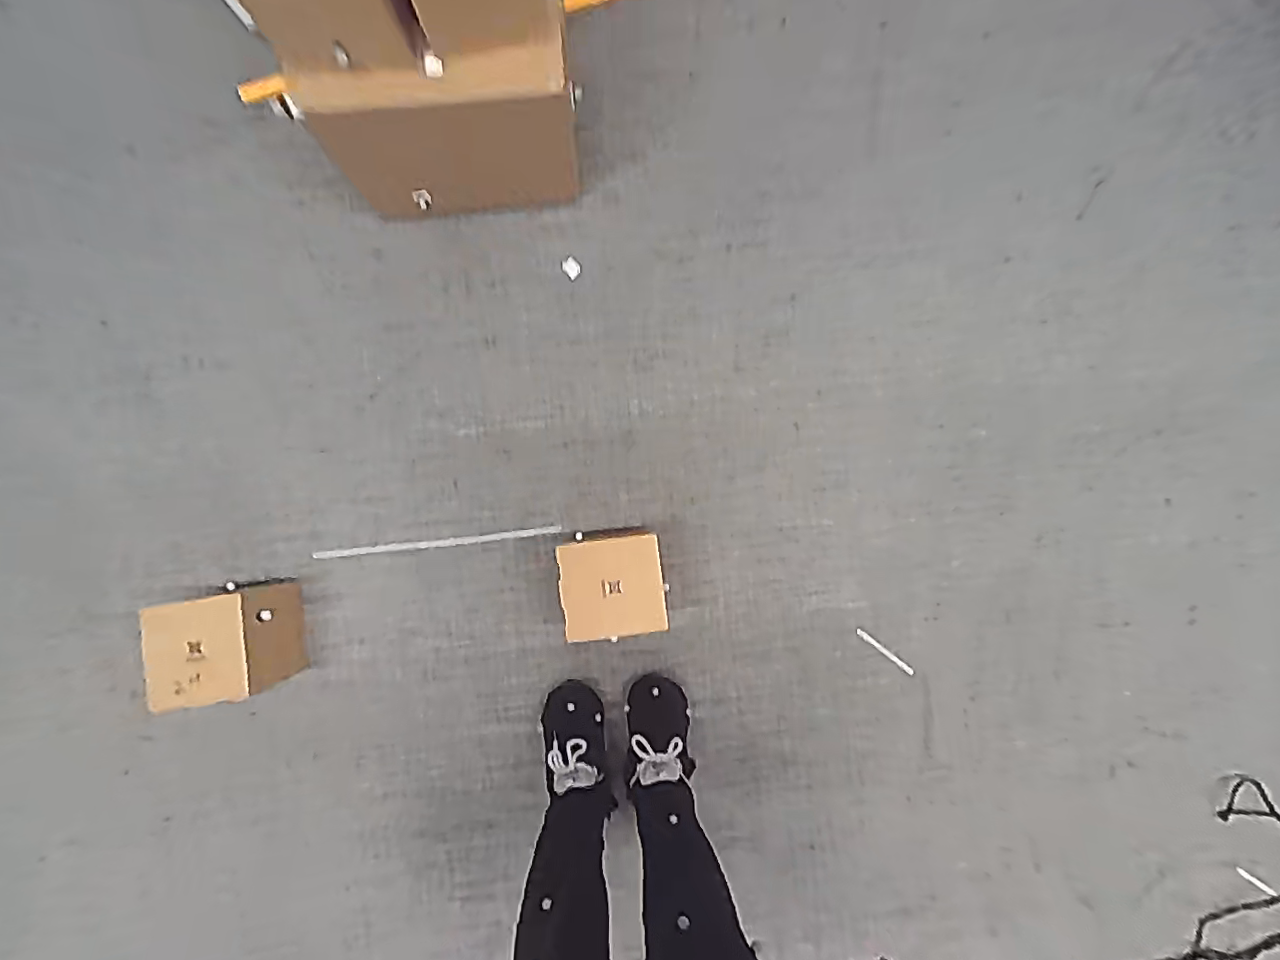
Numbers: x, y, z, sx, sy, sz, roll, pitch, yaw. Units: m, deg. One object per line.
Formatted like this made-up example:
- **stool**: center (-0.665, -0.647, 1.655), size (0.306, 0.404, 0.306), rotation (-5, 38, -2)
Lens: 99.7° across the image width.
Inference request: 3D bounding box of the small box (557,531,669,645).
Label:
- **small box**: center (-0.049, 0.187, 0.985), size (0.179, 0.176, 0.168), rotation (-7, 88, -1)

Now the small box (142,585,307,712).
- **small box**: center (-0.726, 0.287, 0.962), size (0.168, 0.176, 0.179), rotation (-7, 88, -2)
